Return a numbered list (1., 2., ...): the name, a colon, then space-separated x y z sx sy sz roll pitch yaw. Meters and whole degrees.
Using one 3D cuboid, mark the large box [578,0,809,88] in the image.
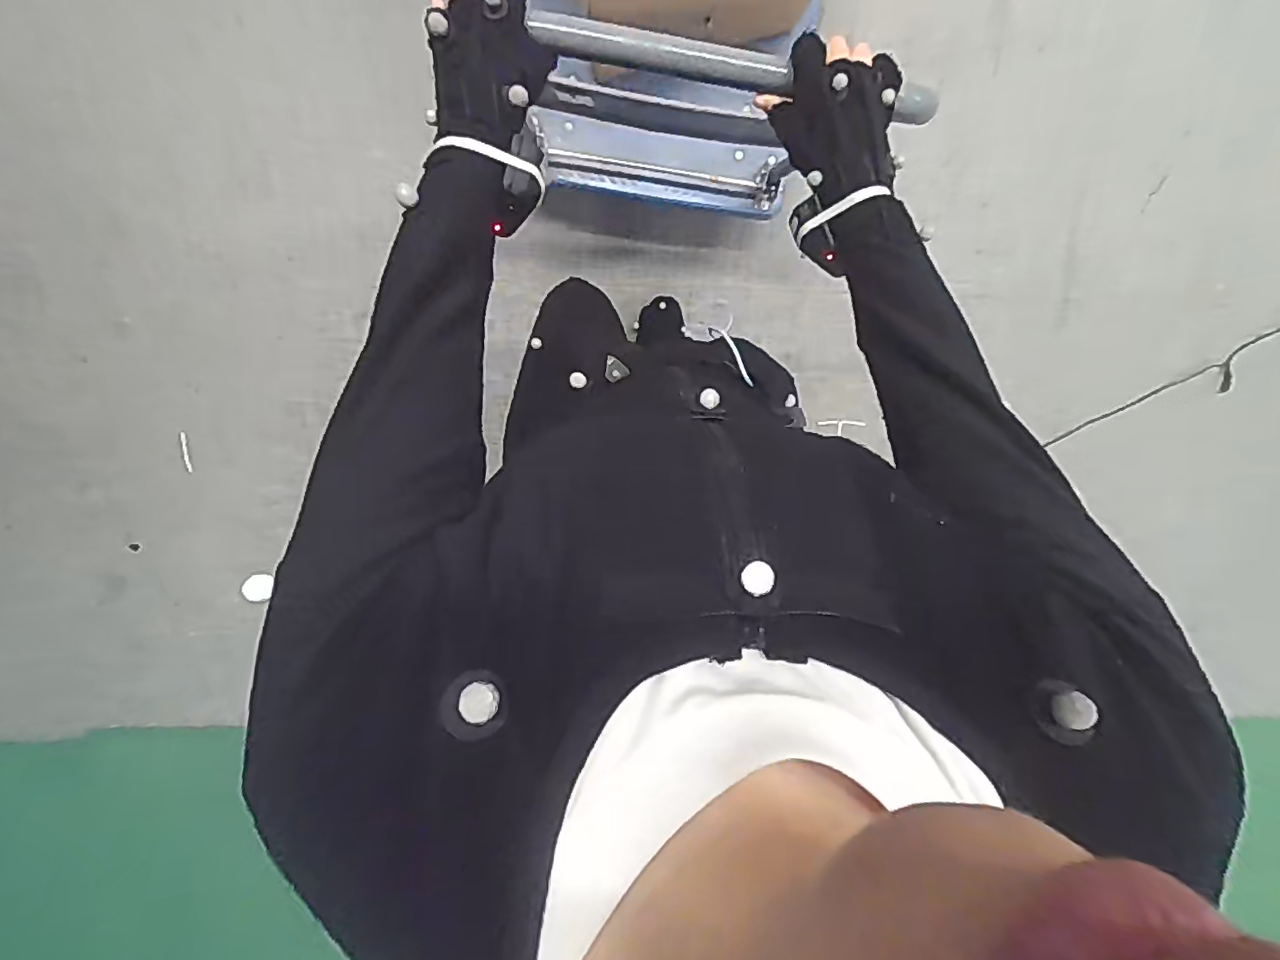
1. large box: 0.077 -0.928 0.889 0.408 0.320 0.320 -14 106 3
